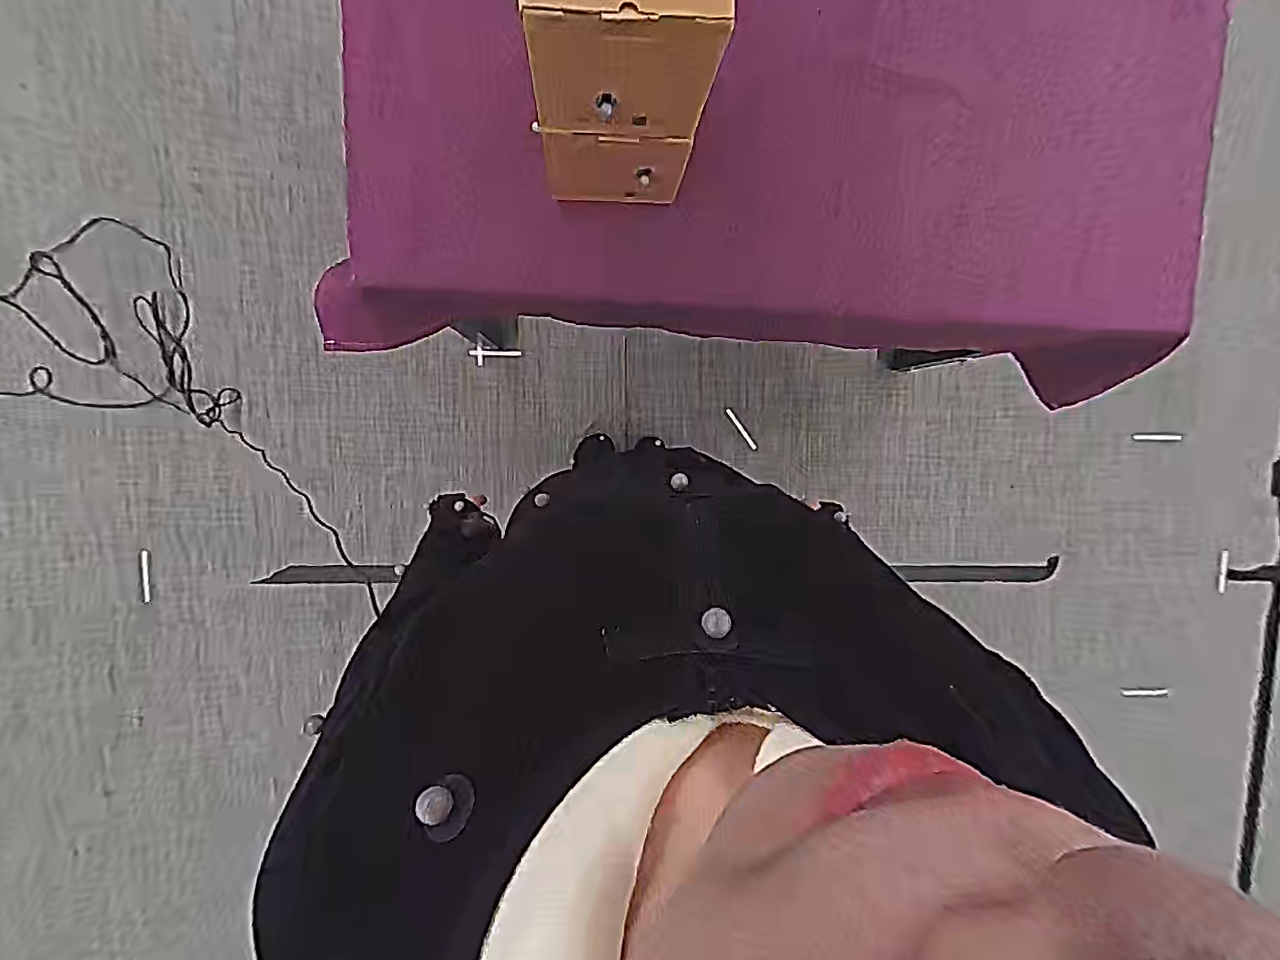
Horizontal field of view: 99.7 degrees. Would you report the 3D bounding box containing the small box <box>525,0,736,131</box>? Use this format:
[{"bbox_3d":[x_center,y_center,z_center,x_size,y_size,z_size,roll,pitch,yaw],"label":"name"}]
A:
[{"bbox_3d":[-0.017,-0.446,0.480,0.168,0.176,0.179,-2,97,-6],"label":"small box"}]

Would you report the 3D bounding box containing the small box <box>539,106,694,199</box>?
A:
[{"bbox_3d":[-0.028,-0.456,0.641,0.168,0.176,0.179,0,95,-6],"label":"small box"}]
